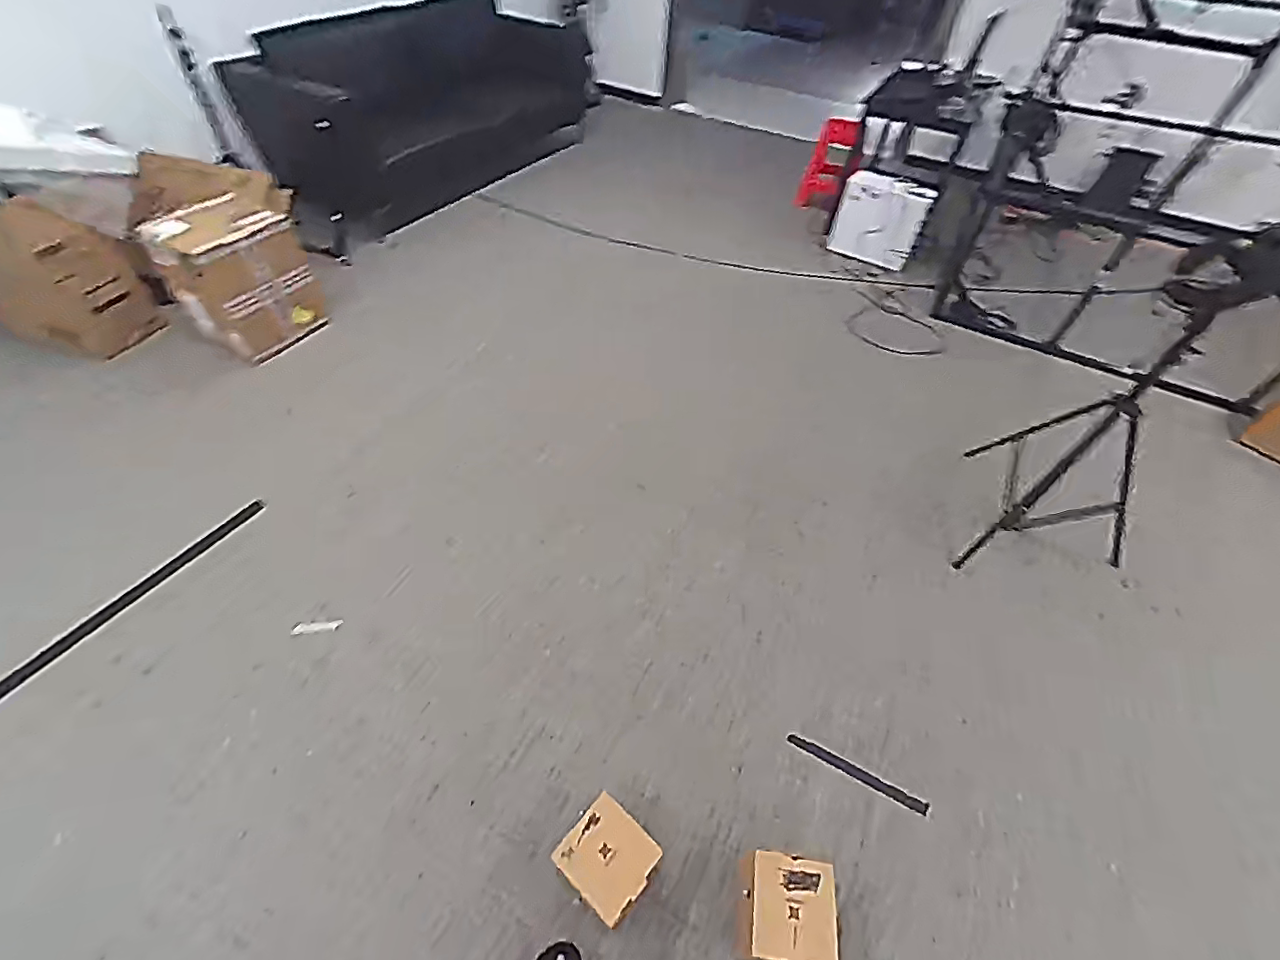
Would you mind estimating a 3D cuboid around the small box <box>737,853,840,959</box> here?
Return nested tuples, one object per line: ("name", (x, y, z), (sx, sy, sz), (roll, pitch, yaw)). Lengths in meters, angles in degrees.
("small box", (0.301, 0.903, 1.116), (0.168, 0.176, 0.179), (10, 49, 4))

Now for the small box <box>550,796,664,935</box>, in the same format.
("small box", (-0.070, 0.824, 1.160), (0.179, 0.176, 0.168), (36, 55, 25))
